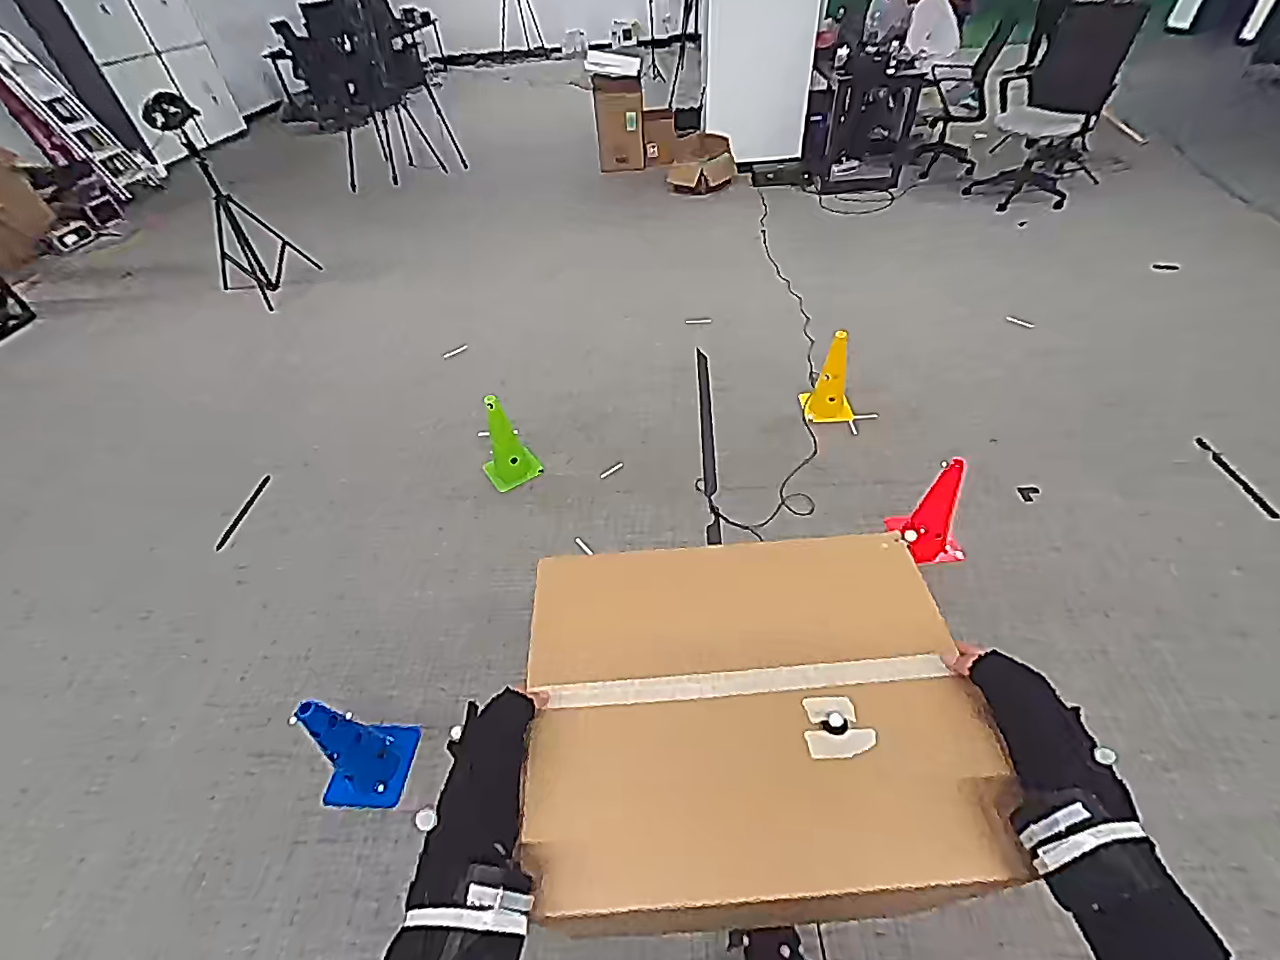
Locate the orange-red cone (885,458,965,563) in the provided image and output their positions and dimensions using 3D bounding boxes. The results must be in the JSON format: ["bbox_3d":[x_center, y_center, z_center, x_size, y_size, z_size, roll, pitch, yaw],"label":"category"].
[{"bbox_3d":[0.933,0.074,1.691,0.198,0.360,0.199,-3,43,2],"label":"orange-red cone"}]

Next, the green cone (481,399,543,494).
[{"bbox_3d":[-0.536,-0.160,2.081,0.202,0.368,0.200,-30,49,-21],"label":"green cone"}]

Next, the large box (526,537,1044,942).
[{"bbox_3d":[0.105,0.293,0.612,0.408,0.320,0.320,-4,47,-1],"label":"large box"}]

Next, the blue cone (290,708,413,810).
[{"bbox_3d":[-0.719,0.645,1.306,0.192,0.380,0.193,0,44,7],"label":"blue cone"}]
